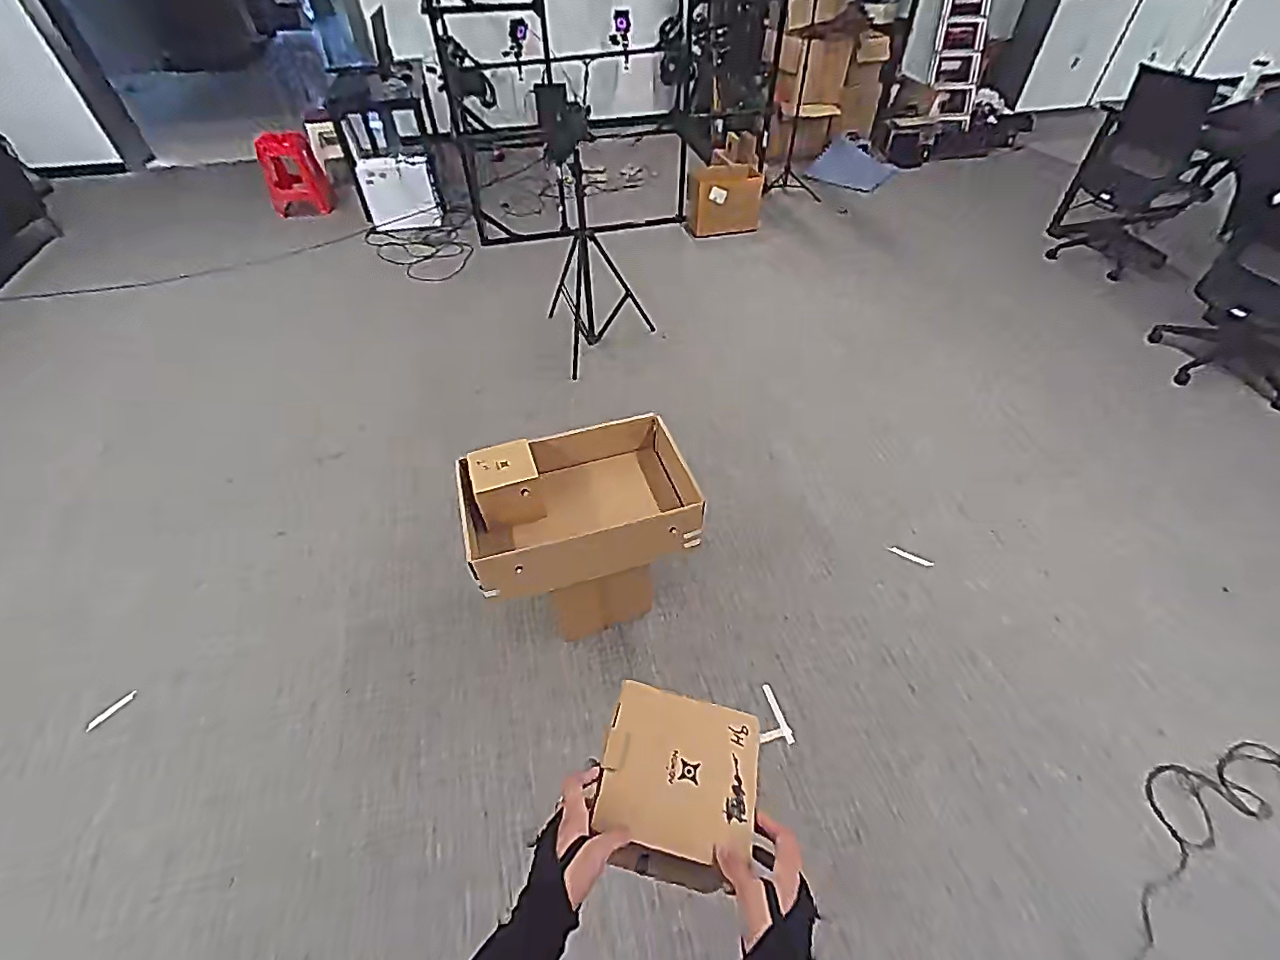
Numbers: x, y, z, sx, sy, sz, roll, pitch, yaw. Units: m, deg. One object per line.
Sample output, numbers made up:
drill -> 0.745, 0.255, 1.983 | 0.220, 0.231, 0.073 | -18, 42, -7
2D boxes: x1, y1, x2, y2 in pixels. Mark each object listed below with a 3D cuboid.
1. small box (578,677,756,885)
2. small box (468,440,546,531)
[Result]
small box -> 0.029, 0.374, 0.665 | 0.179, 0.176, 0.168 | 15, 47, 2
small box -> -0.372, 0.017, 1.531 | 0.179, 0.176, 0.168 | -16, 48, -12
